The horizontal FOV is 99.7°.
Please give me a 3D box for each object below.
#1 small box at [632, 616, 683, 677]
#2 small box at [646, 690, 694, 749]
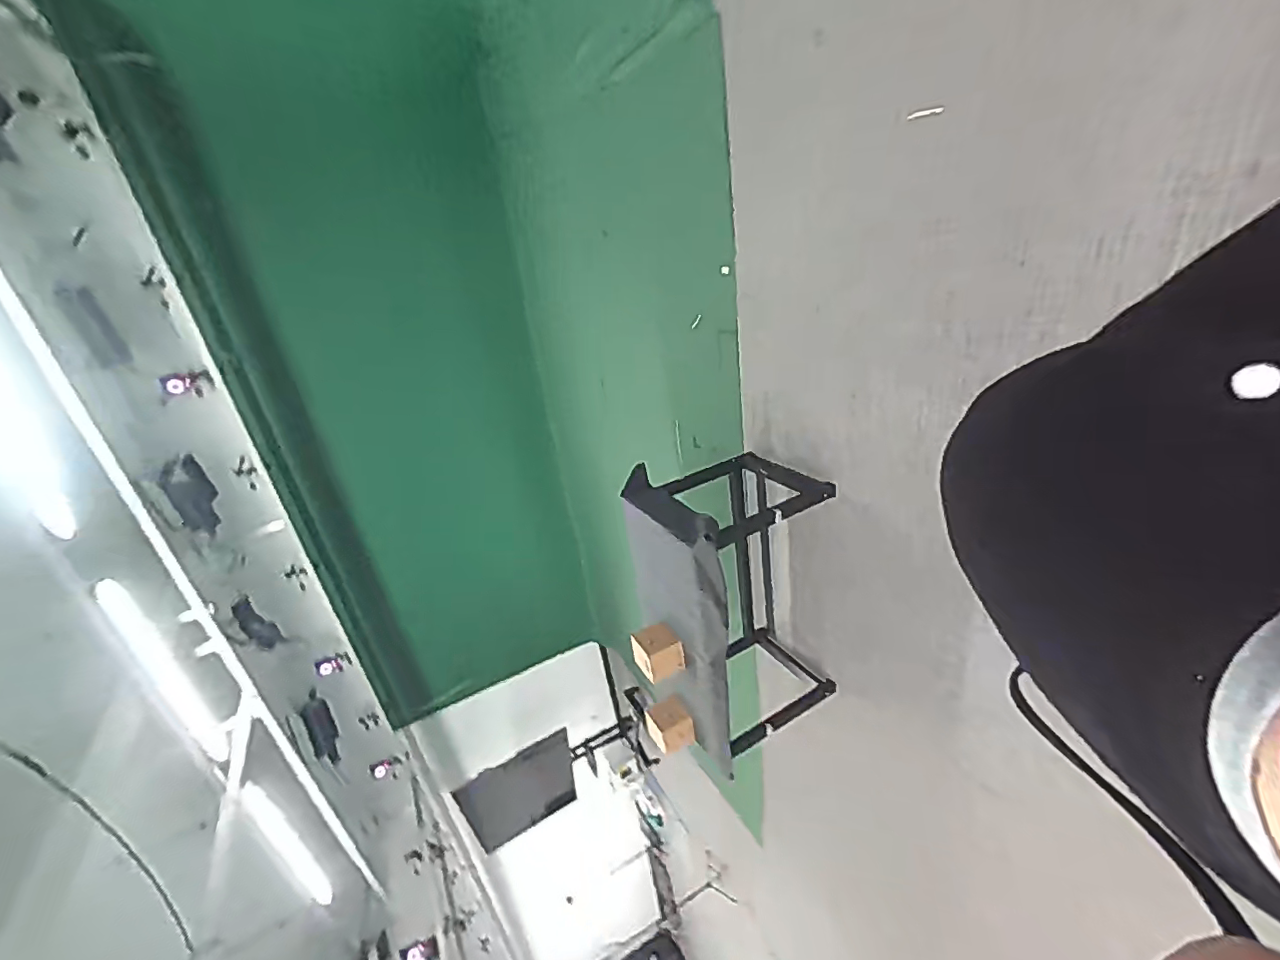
[{"bbox_3d":[0.086,0.748,2.451,0.179,0.176,0.168,36,141,55],"label":"small box"},{"bbox_3d":[0.153,1.170,2.657,0.179,0.176,0.168,32,136,55],"label":"small box"}]
